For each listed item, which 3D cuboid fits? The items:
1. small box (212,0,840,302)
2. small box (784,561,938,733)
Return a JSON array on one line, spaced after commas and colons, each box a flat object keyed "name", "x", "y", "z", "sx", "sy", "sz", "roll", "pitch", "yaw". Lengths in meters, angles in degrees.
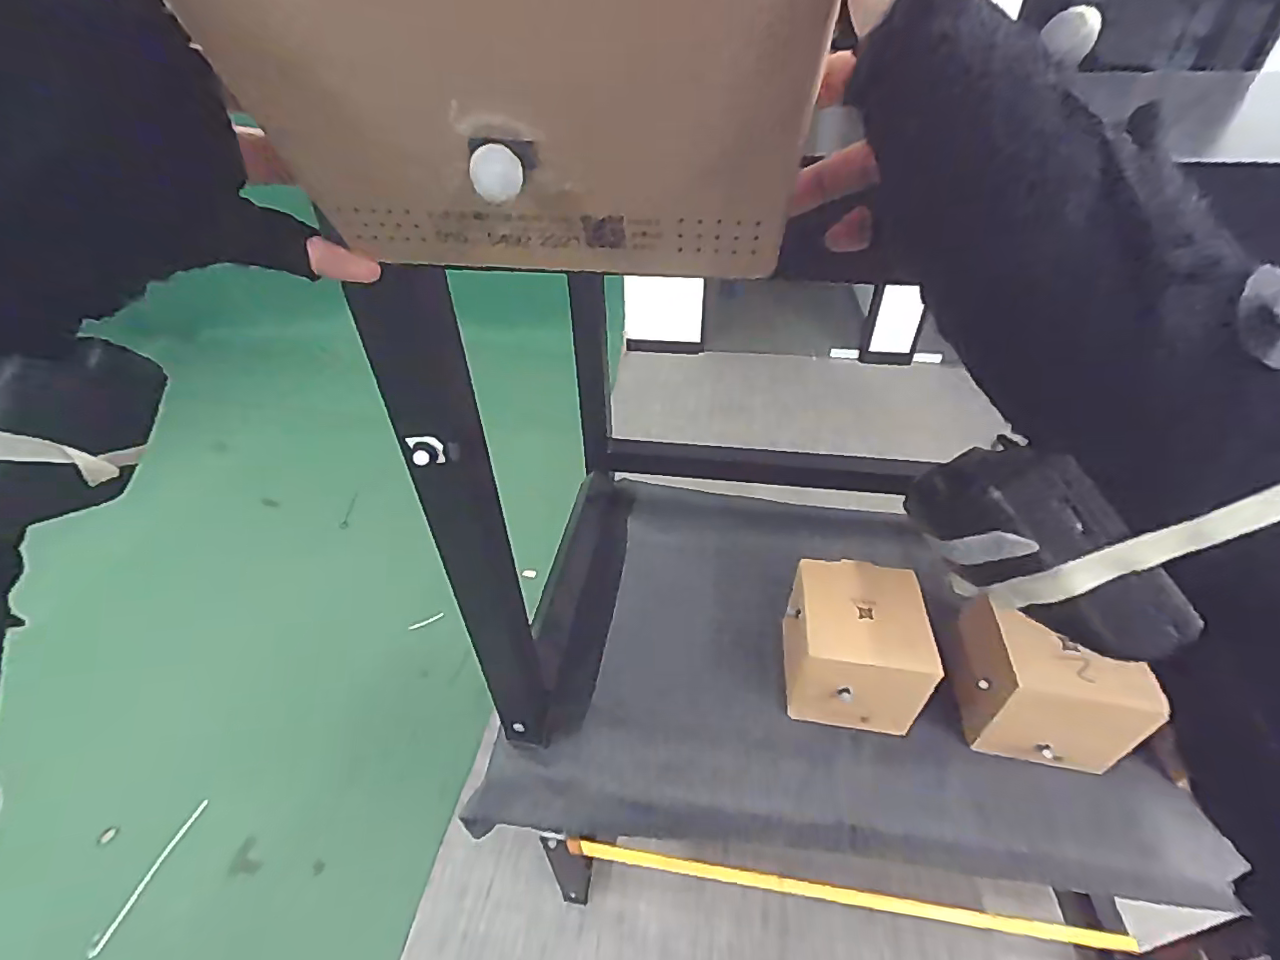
[{"name": "small box", "x": -0.026, "y": -0.184, "z": 0.169, "sx": 0.168, "sy": 0.176, "sz": 0.179, "roll": 4, "pitch": 70, "yaw": 6}, {"name": "small box", "x": 0.311, "y": 0.247, "z": 0.802, "sx": 0.168, "sy": 0.176, "sz": 0.179, "roll": 5, "pitch": 39, "yaw": 8}]
